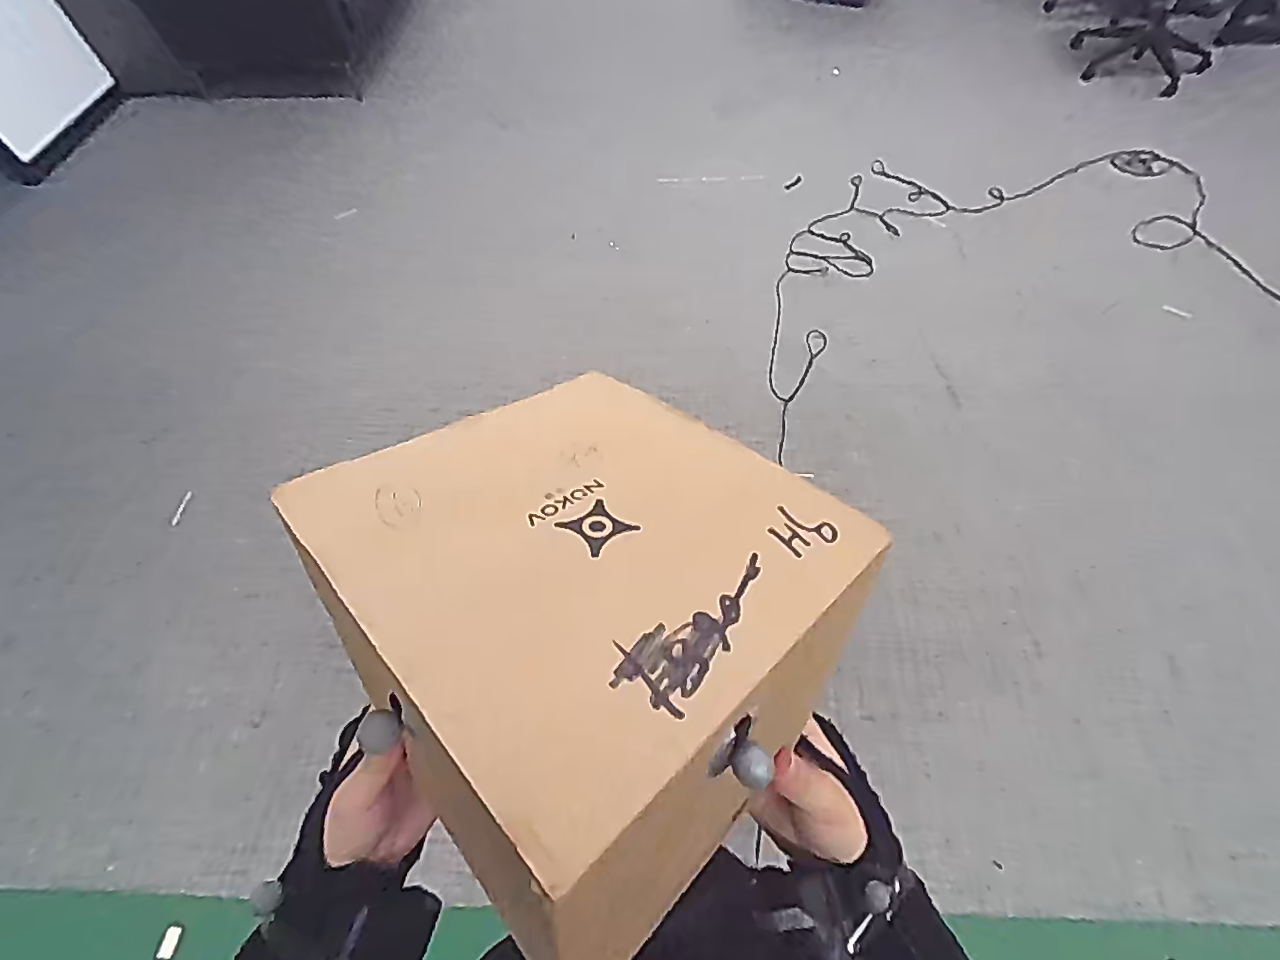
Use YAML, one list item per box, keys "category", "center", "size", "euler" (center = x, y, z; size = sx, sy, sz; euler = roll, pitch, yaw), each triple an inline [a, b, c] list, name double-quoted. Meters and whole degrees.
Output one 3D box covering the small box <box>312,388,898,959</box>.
- category: "small box"
  center: [-0.018, 0.083, 0.262]
  size: [0.179, 0.176, 0.168]
  euler: [33, 47, 32]
